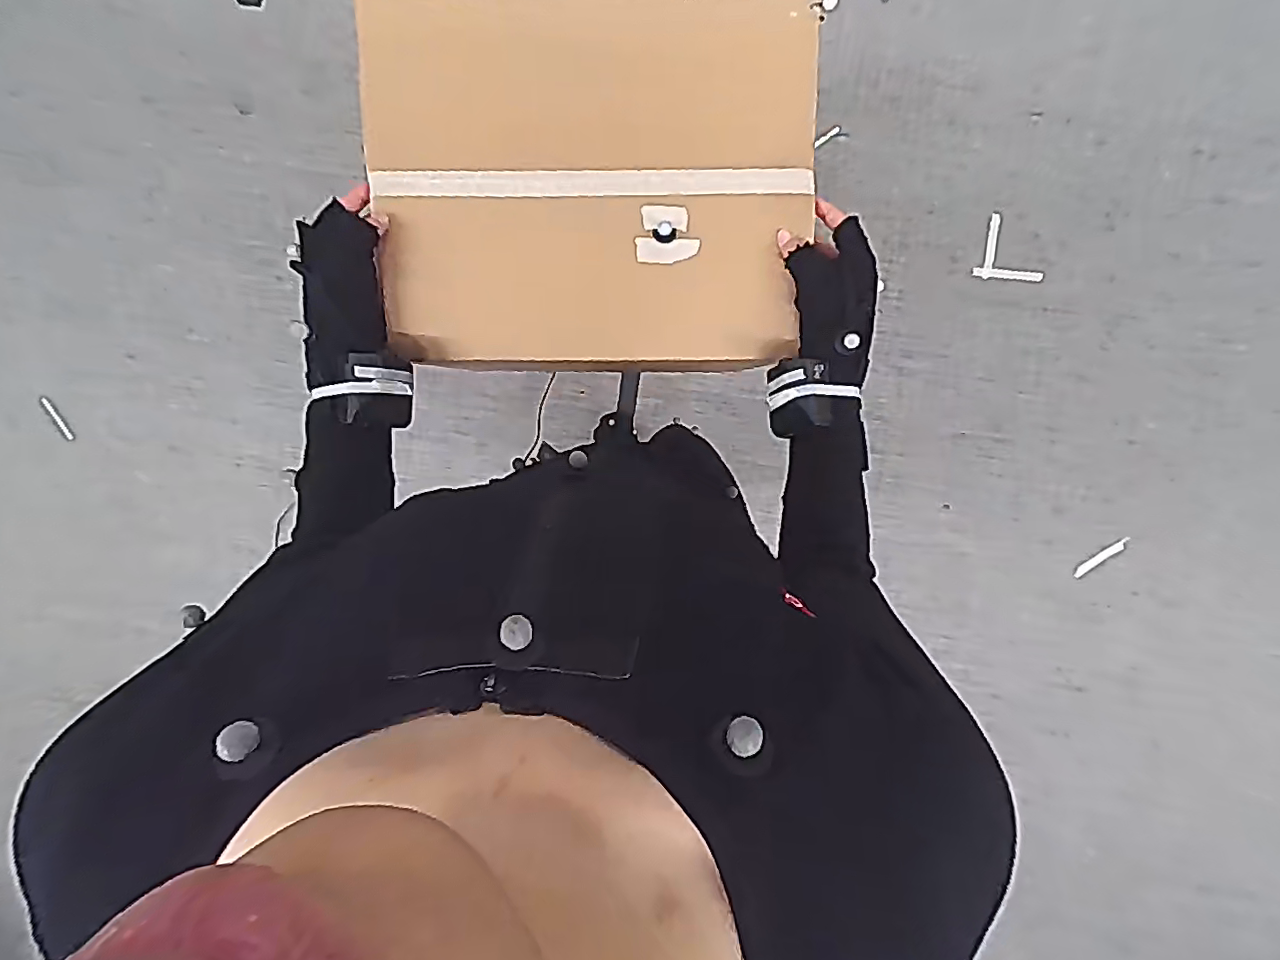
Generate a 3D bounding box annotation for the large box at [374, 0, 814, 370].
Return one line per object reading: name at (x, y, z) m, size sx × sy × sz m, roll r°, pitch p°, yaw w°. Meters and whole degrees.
large box at (-0.043, -0.301, 0.653) m, size 0.408 × 0.320 × 0.320 m, roll 0°, pitch 99°, yaw -1°
